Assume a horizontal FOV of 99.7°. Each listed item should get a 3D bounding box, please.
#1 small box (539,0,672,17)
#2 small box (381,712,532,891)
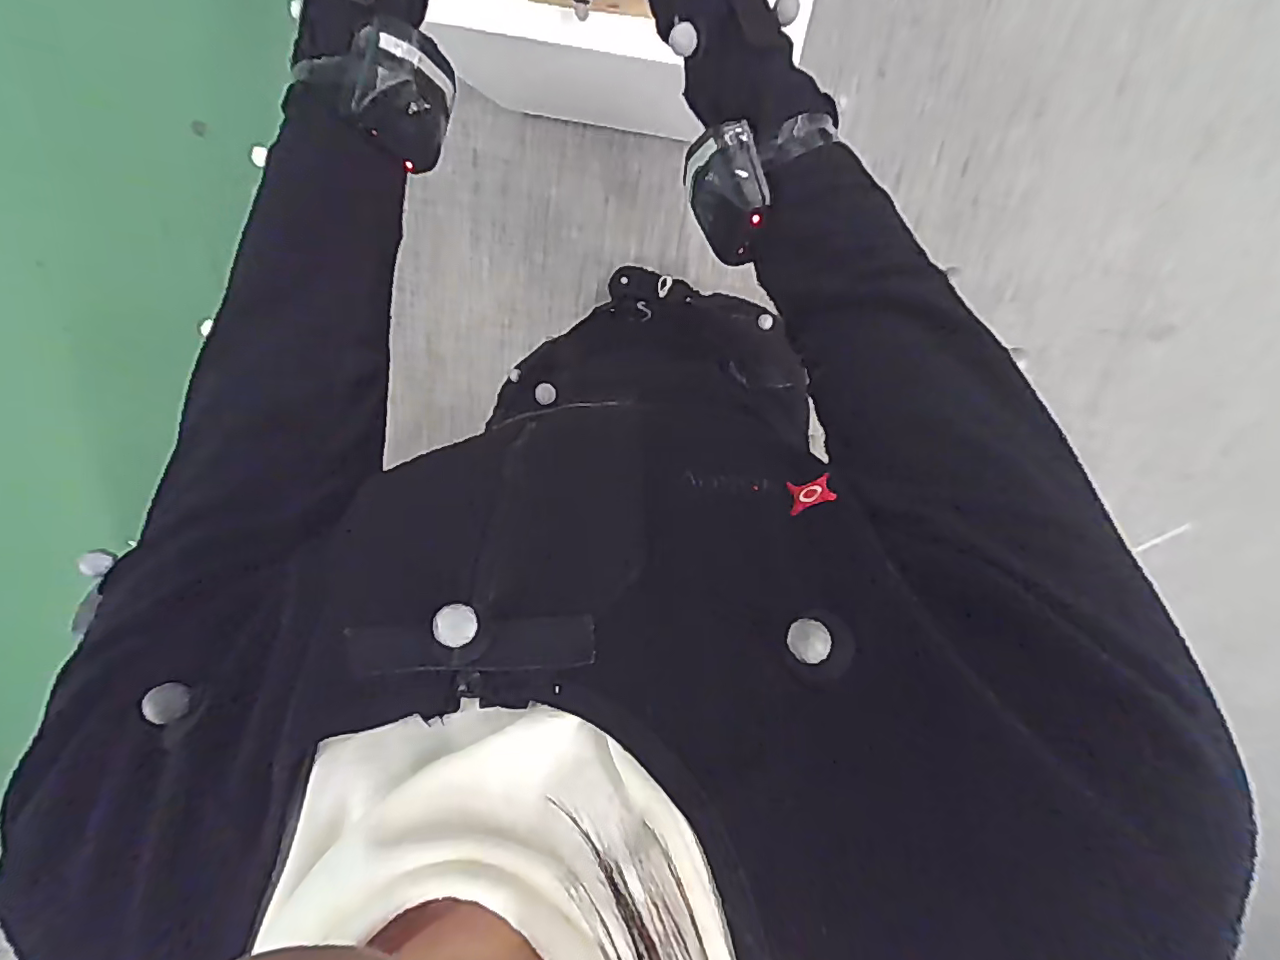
[{"bbox_3d":[-0.044,-0.570,0.494,0.168,0.176,0.179,9,116,3],"label":"small box"},{"bbox_3d":[-0.279,0.495,0.849,0.179,0.176,0.168,12,115,0],"label":"small box"}]
